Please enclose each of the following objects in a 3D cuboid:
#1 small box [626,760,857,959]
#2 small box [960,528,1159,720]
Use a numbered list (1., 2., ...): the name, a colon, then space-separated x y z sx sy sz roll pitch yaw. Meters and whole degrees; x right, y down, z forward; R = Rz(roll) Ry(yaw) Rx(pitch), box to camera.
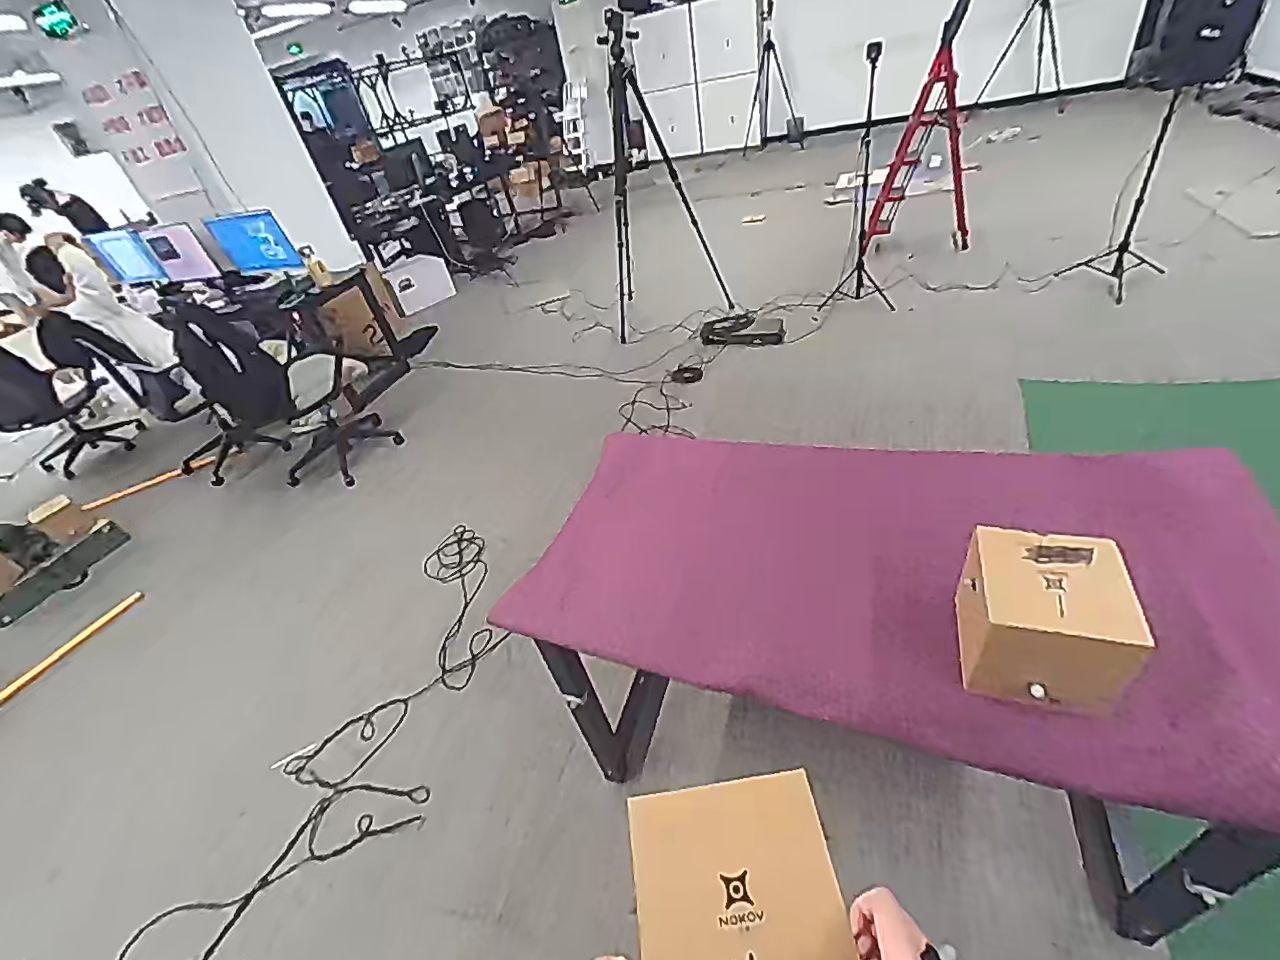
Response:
1. small box: 0.086 0.379 0.492 0.168 0.176 0.179 -11 50 3
2. small box: 0.550 0.192 0.742 0.168 0.176 0.179 4 41 22
